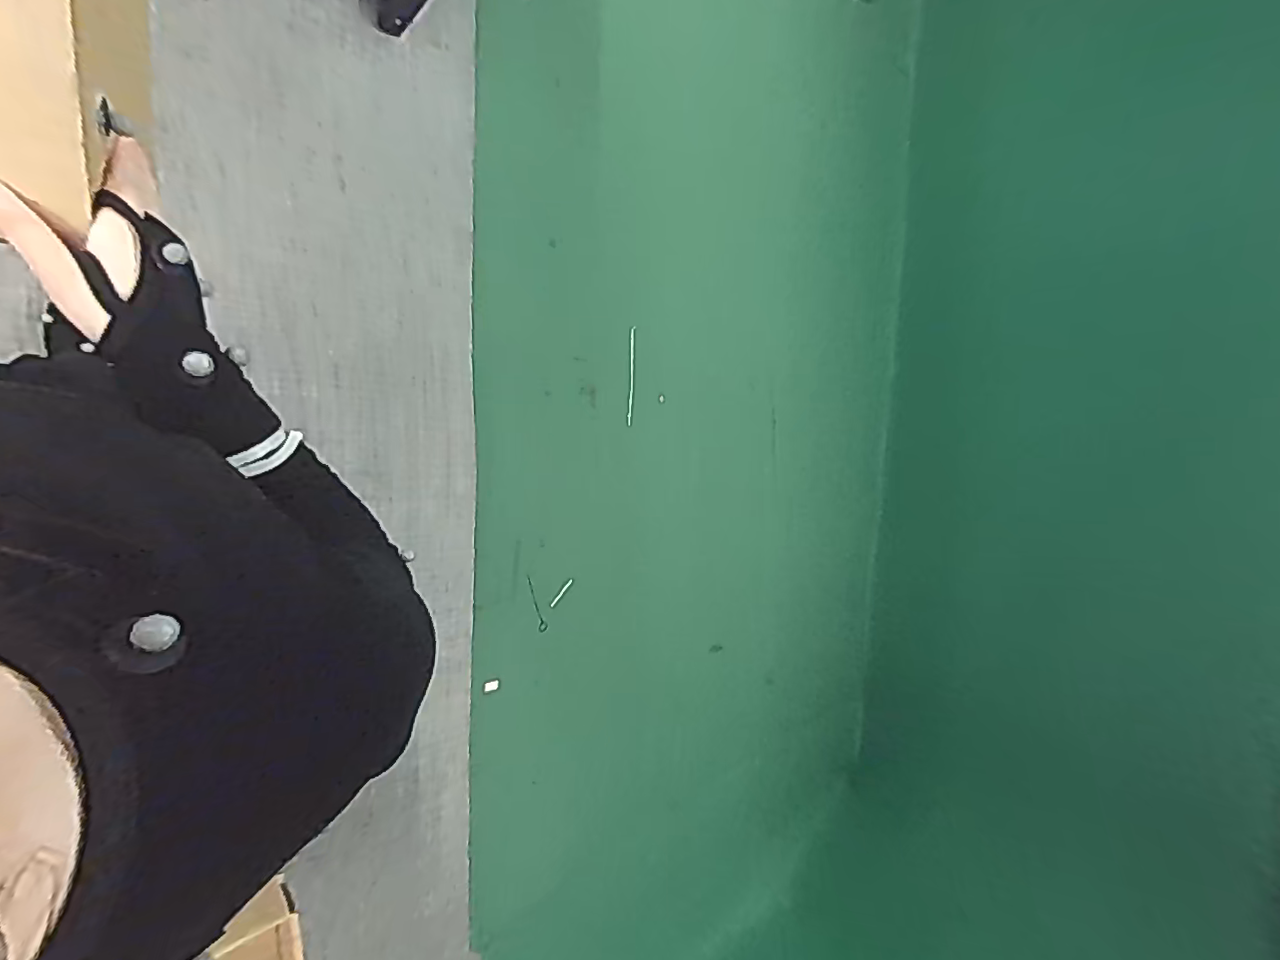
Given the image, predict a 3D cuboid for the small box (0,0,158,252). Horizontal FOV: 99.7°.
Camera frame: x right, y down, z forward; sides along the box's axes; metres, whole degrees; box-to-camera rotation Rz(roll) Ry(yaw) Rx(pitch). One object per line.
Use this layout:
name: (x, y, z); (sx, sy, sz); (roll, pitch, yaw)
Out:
small box: (-0.400, -0.262, 0.306); (0.168, 0.176, 0.179); (4, 125, -33)
